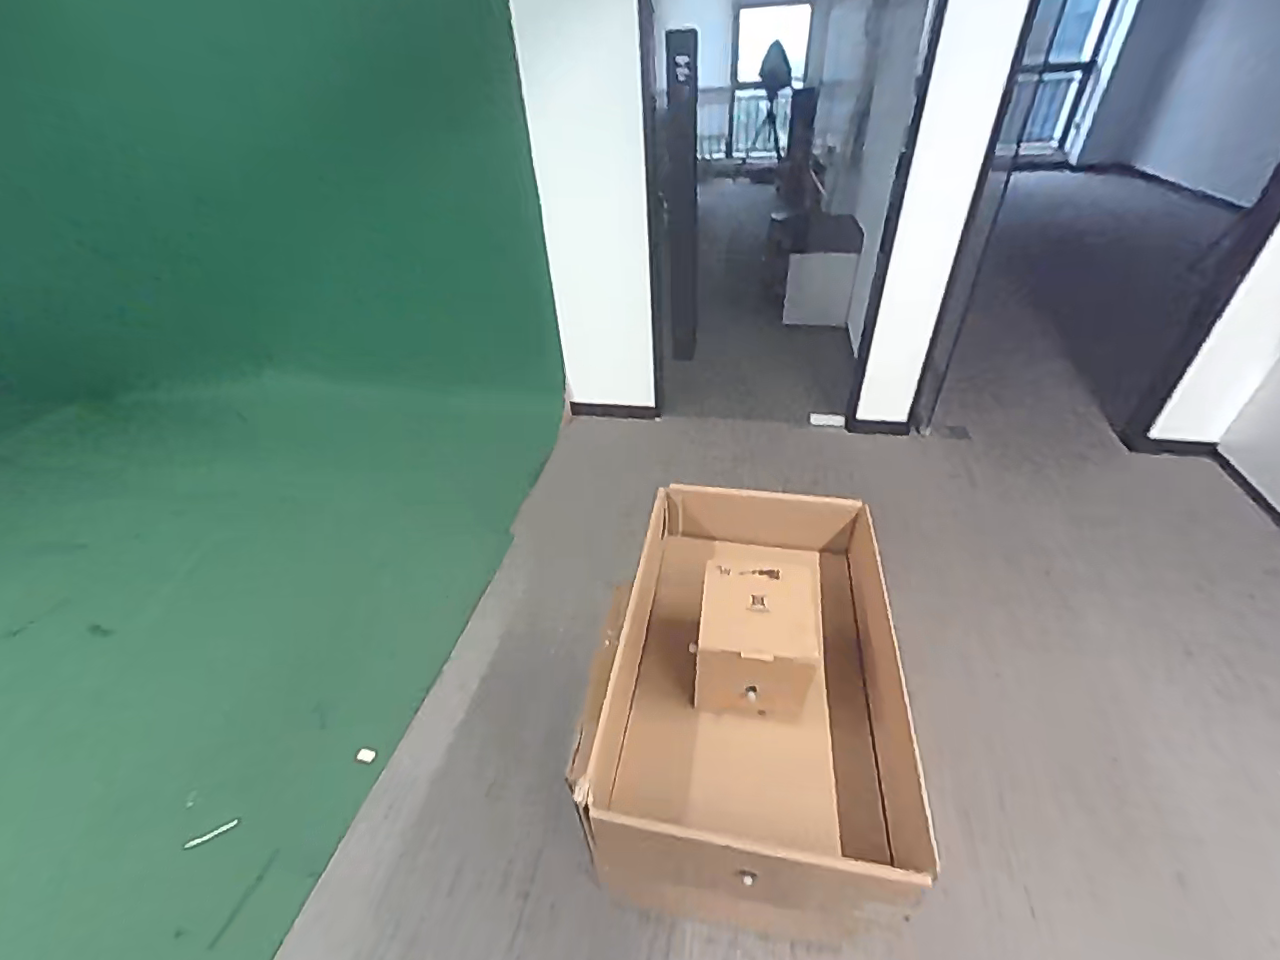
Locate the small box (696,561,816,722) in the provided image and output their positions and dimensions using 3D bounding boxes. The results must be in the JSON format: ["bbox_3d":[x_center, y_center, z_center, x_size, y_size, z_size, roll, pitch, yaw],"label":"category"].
[{"bbox_3d":[0.179,0.254,0.855,0.168,0.176,0.179,5,39,10],"label":"small box"}]
